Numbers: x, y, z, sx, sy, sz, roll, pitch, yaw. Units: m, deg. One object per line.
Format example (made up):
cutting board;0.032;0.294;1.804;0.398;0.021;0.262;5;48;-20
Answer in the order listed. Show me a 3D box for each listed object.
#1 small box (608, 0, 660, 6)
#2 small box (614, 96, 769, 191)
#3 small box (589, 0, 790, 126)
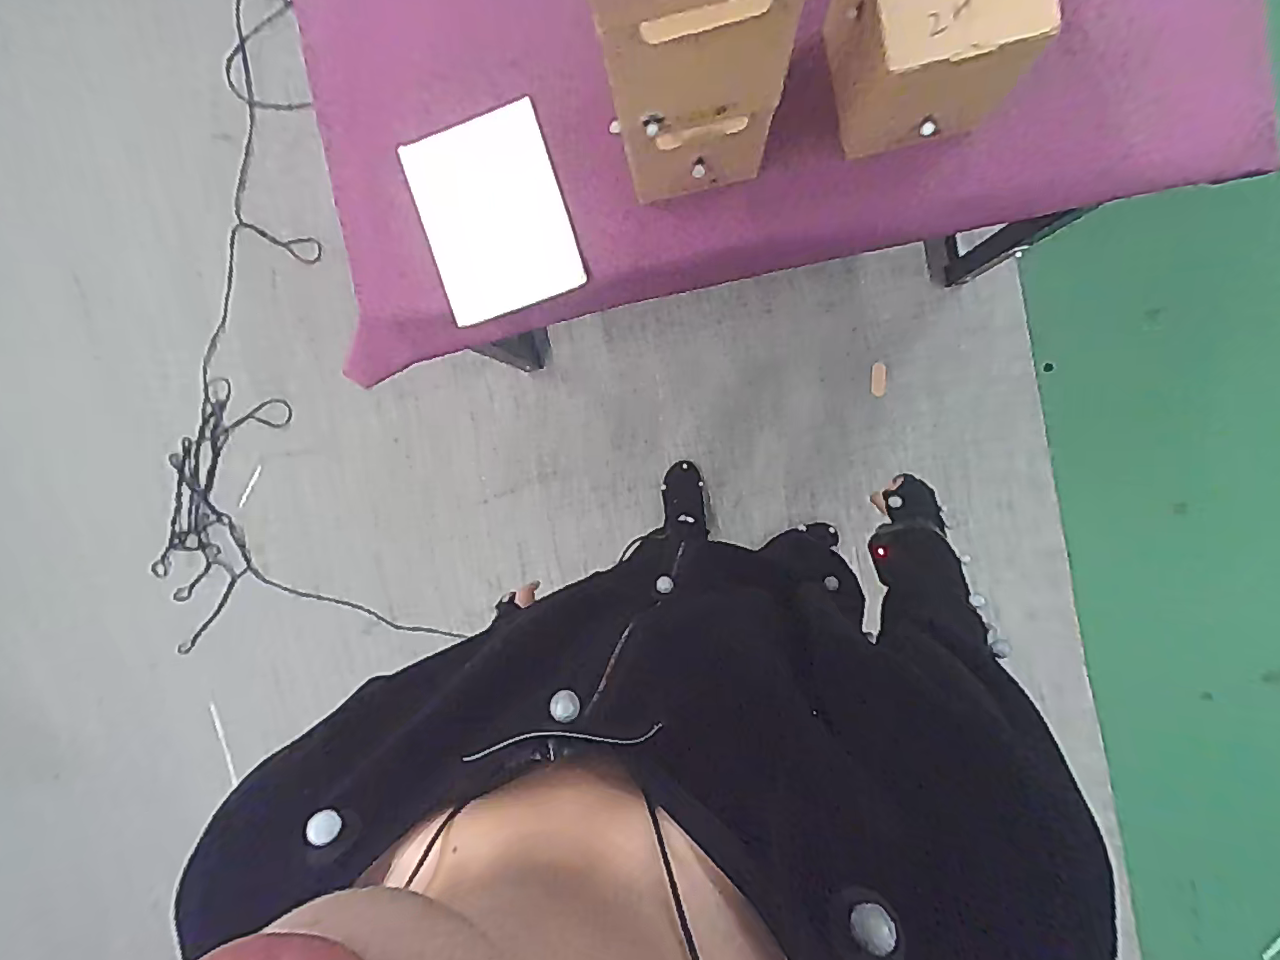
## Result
small box;0.024;-0.442;0.327;0.168;0.176;0.179;-9;93;5
small box;0.053;-0.476;0.652;0.168;0.176;0.179;-10;94;6
small box;0.038;-0.458;0.489;0.168;0.176;0.179;-10;92;6
